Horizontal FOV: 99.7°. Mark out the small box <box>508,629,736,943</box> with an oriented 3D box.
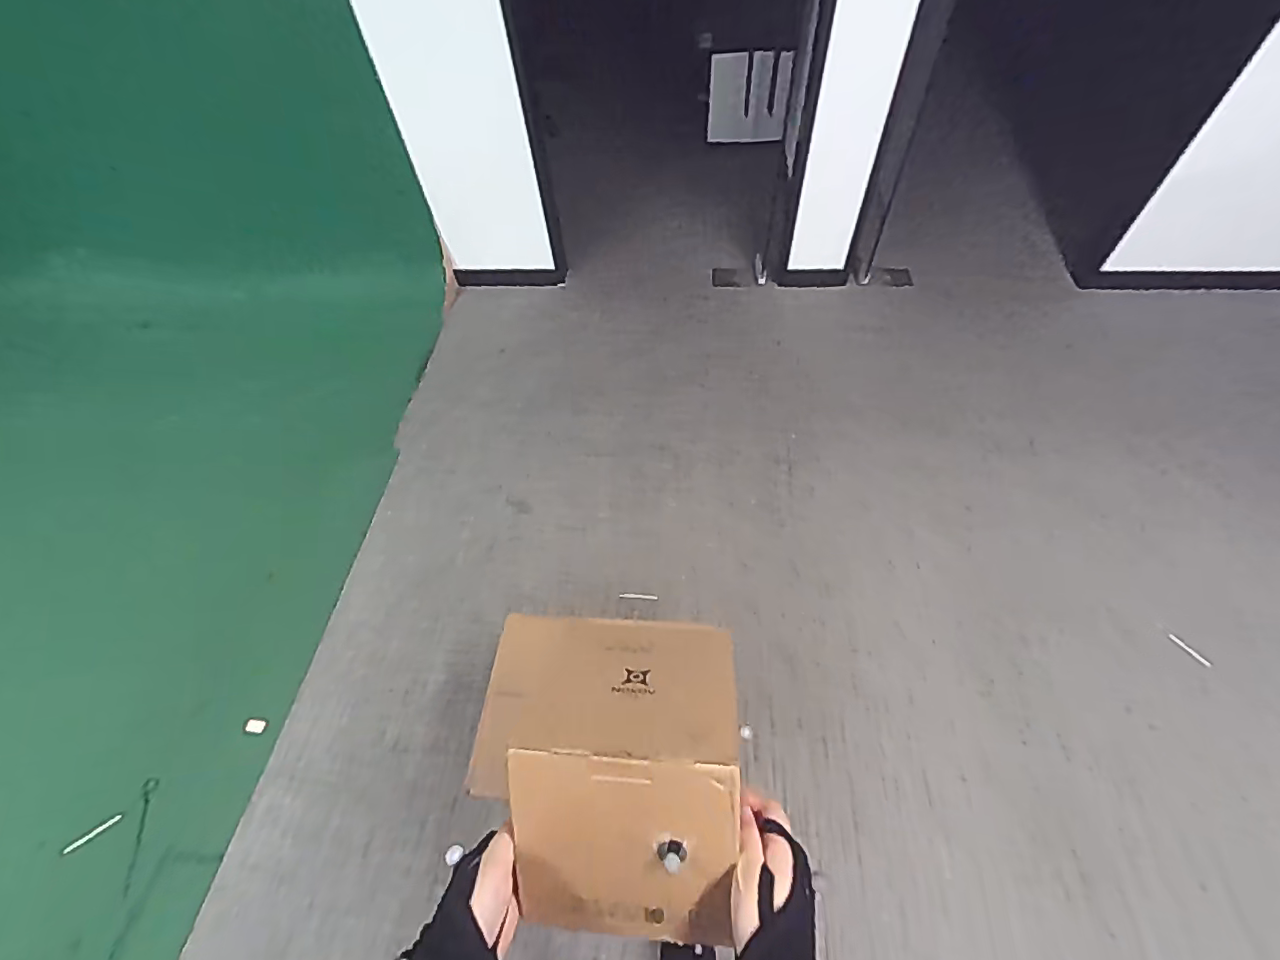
[{"bbox_3d":[-0.001,0.251,0.474,0.168,0.176,0.179,1,13,7],"label":"small box"}]
